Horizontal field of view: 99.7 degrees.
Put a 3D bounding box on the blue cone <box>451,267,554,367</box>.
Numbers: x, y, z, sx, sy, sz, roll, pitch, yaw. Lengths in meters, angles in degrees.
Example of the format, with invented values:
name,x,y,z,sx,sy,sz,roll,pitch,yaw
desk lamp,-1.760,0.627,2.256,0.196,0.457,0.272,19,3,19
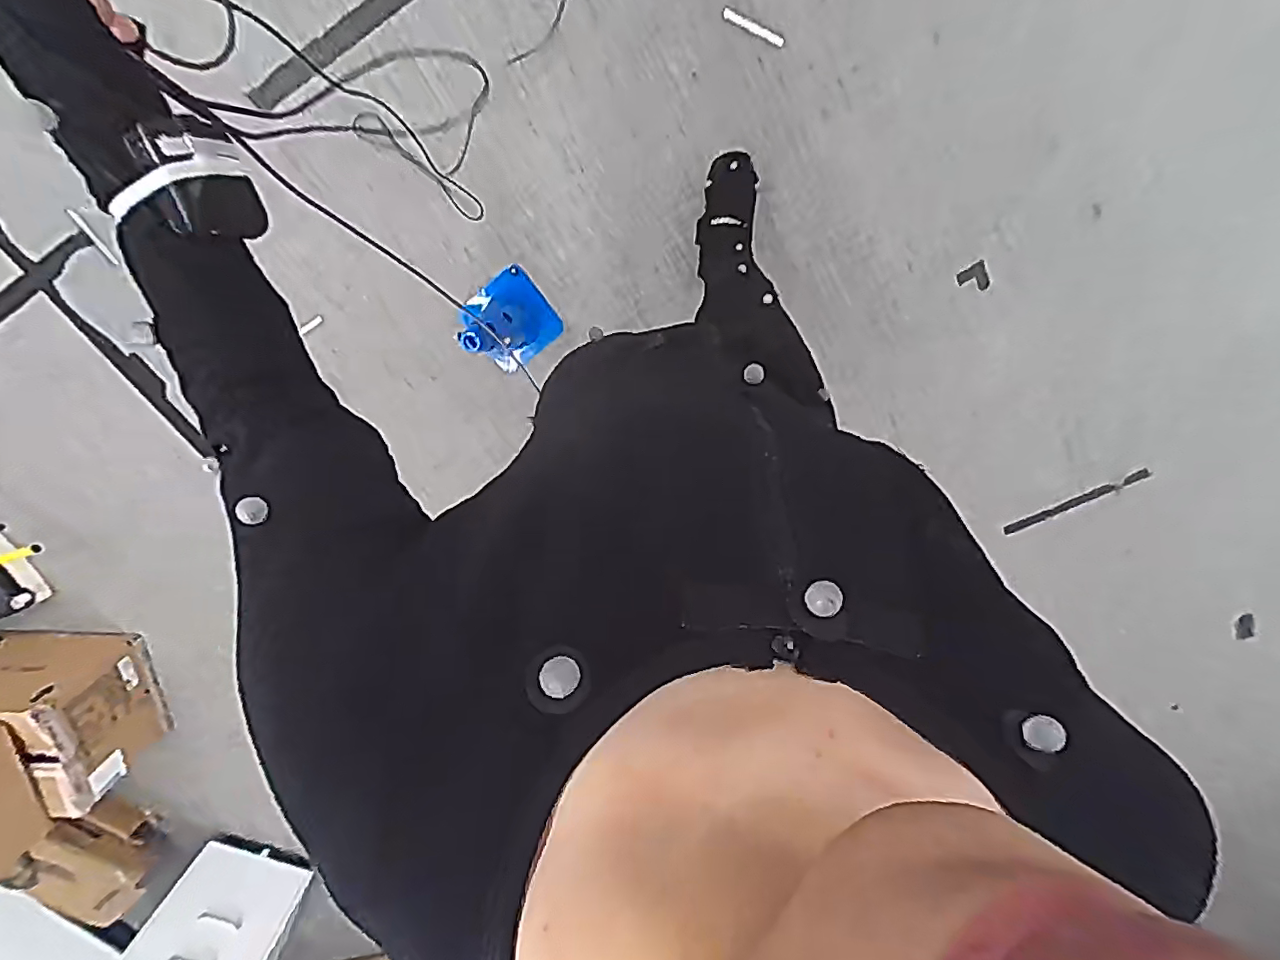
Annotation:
name,x,y,z,sx,sy,sz,roll,pitch,yaw
blue cone,-0.330,-0.337,1.187,0.193,0.380,0.192,-33,108,13
